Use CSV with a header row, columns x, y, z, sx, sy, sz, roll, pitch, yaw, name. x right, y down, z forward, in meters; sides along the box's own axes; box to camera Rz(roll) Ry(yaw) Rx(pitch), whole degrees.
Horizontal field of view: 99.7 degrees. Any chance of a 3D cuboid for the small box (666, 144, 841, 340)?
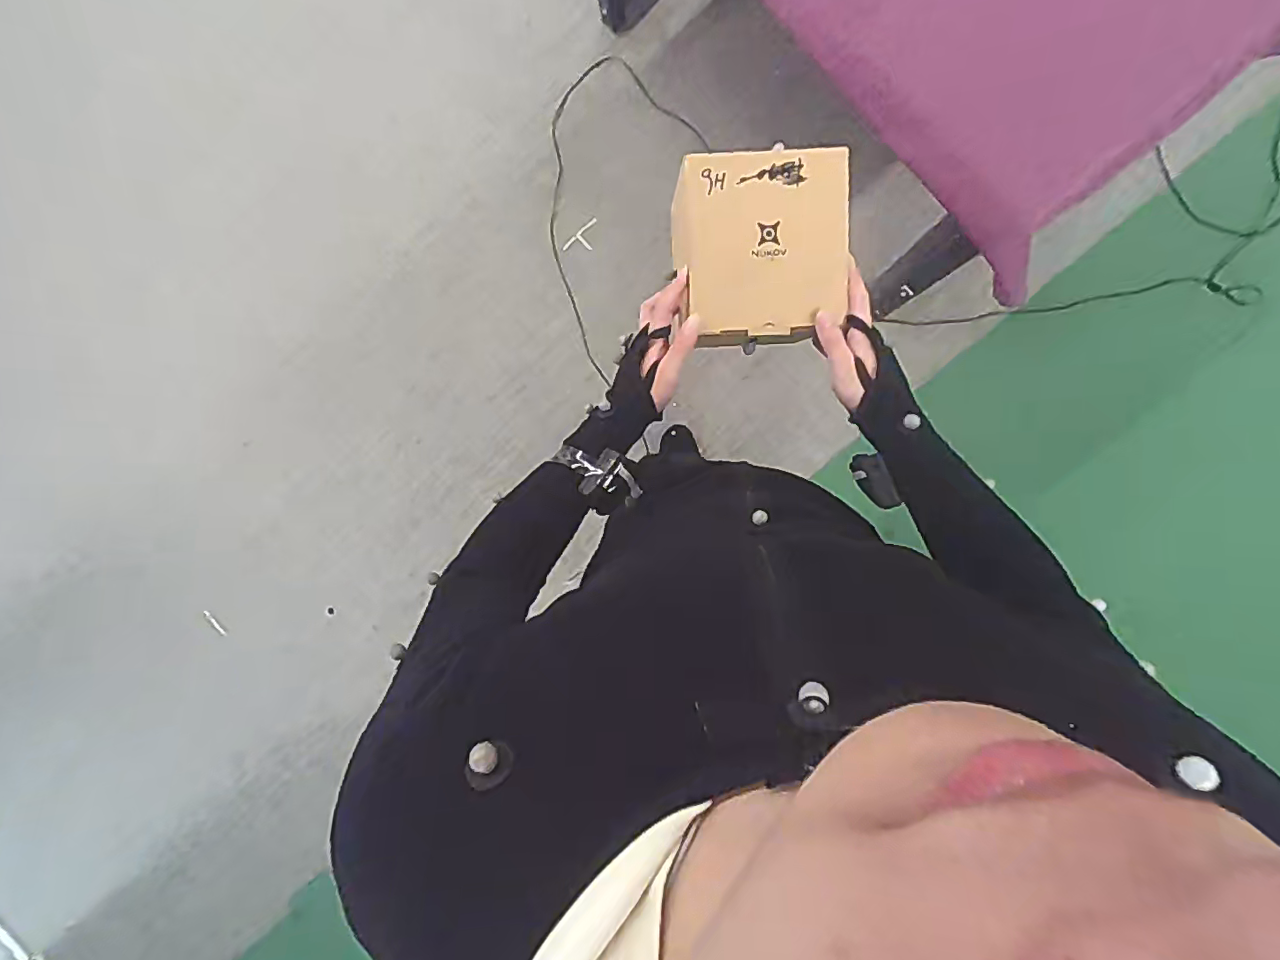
x,y,z,sx,sy,sz,roll,pitch,yaw,name
0.118,-0.256,0.623,0.168,0.176,0.179,-3,100,-1,small box
